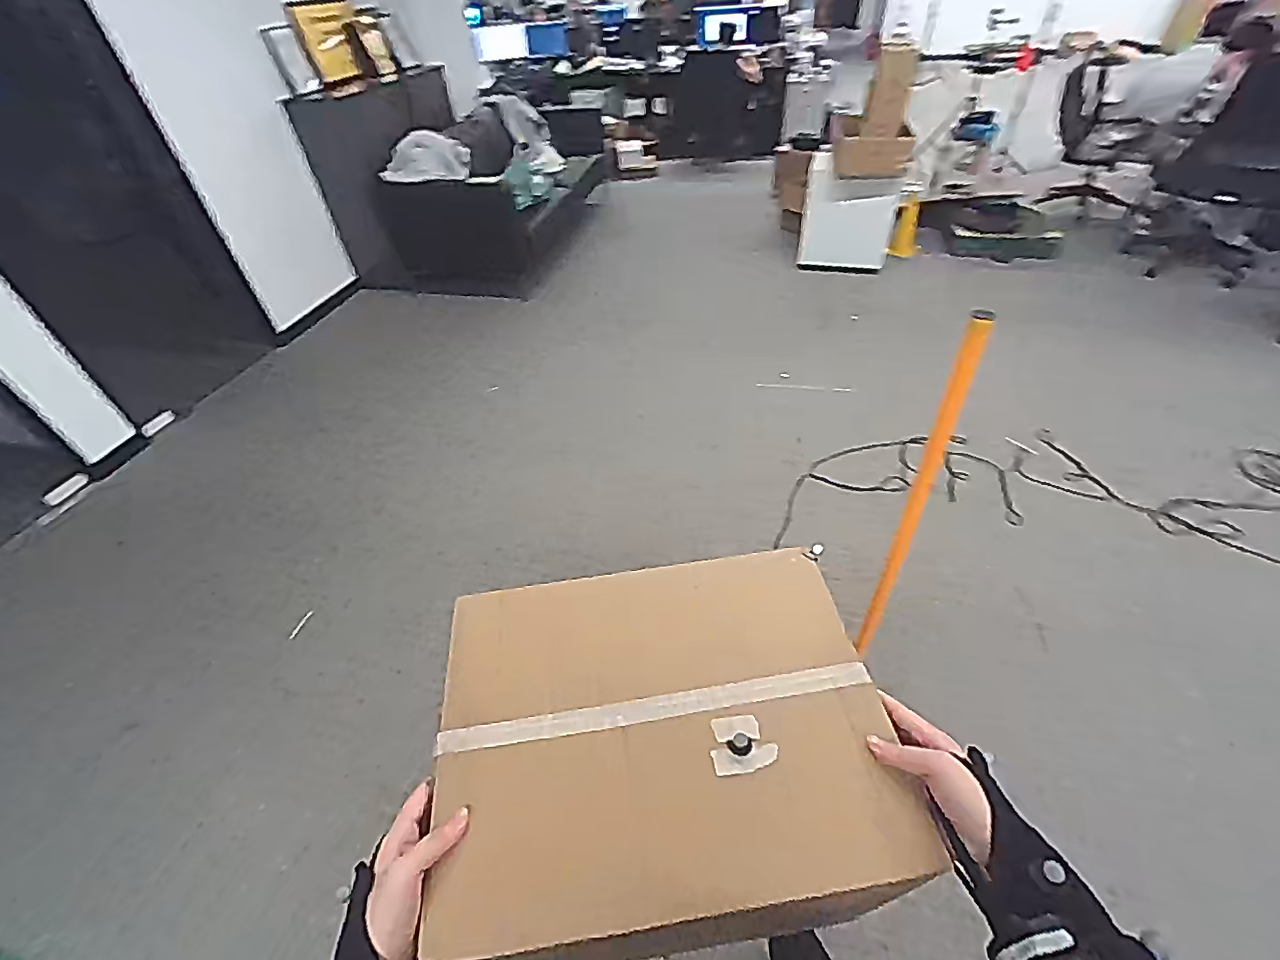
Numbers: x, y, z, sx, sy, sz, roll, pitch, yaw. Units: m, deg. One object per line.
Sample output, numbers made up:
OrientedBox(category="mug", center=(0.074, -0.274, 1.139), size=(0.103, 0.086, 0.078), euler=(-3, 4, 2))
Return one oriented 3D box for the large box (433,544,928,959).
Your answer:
OrientedBox(category="large box", center=(0.018, 0.315, 0.624), size=(0.408, 0.320, 0.320), euler=(-8, 47, -5))
